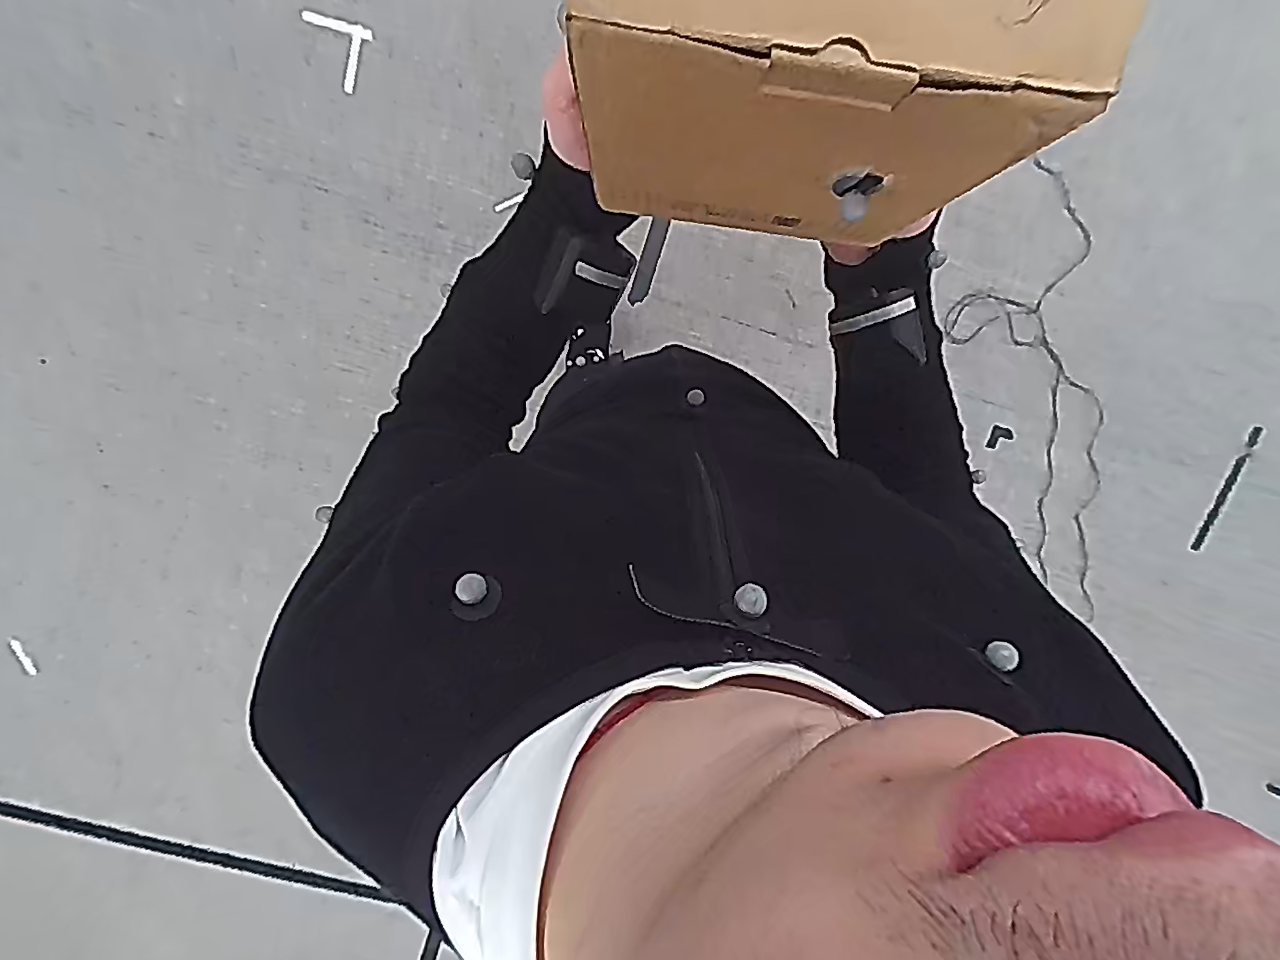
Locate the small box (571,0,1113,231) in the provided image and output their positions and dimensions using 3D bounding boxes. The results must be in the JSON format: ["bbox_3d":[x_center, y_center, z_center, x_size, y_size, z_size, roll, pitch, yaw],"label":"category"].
[{"bbox_3d":[0.069,-0.225,0.231,0.168,0.176,0.179,7,99,-3],"label":"small box"}]
